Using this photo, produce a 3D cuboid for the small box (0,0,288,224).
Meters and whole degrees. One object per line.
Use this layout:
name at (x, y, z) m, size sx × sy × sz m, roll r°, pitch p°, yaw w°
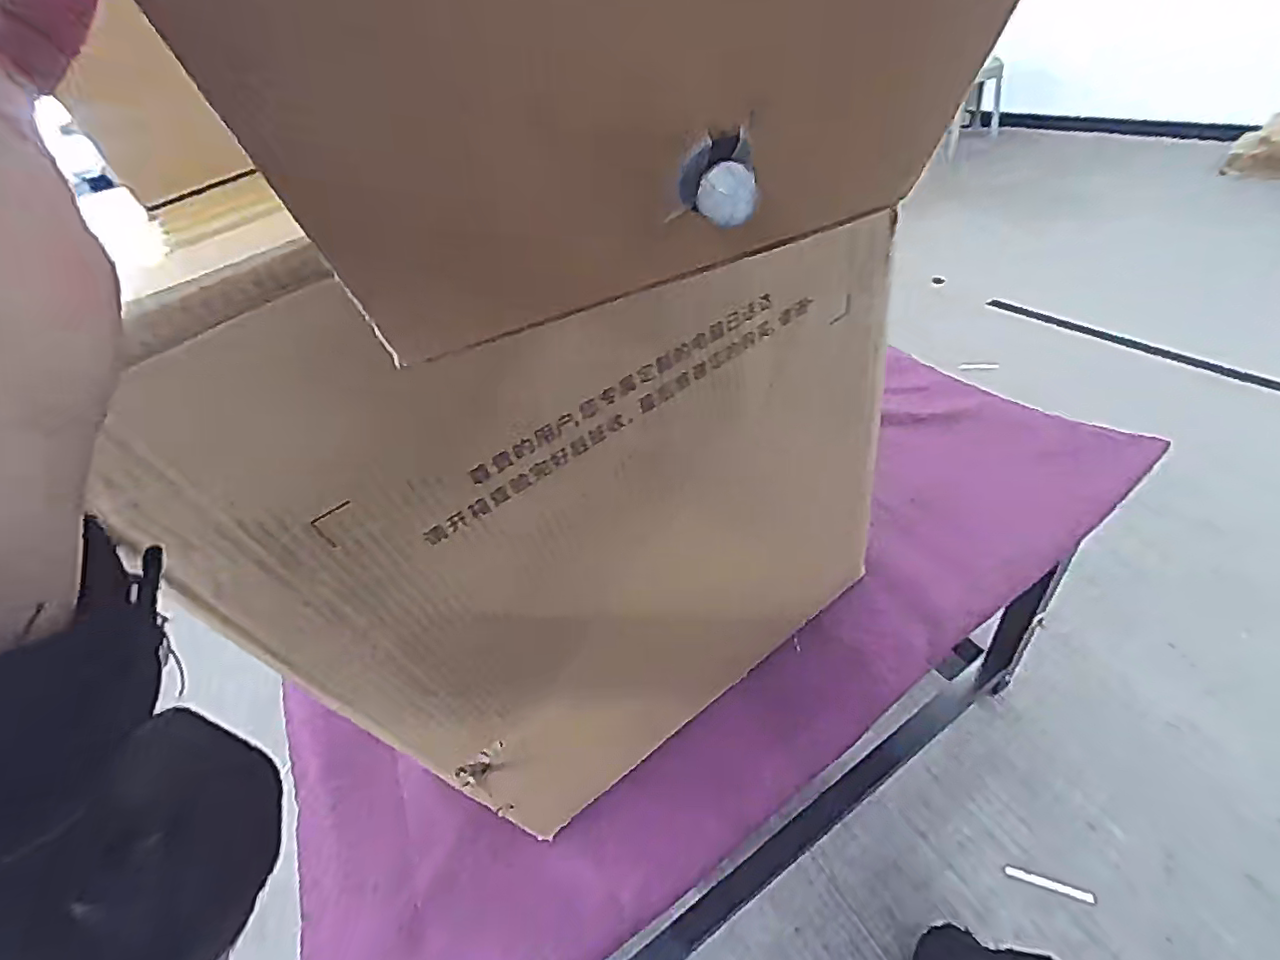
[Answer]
small box at (-0.292, -0.292, 0.346) m, size 0.168 × 0.176 × 0.179 m, roll -36°, pitch 46°, yaw -20°
